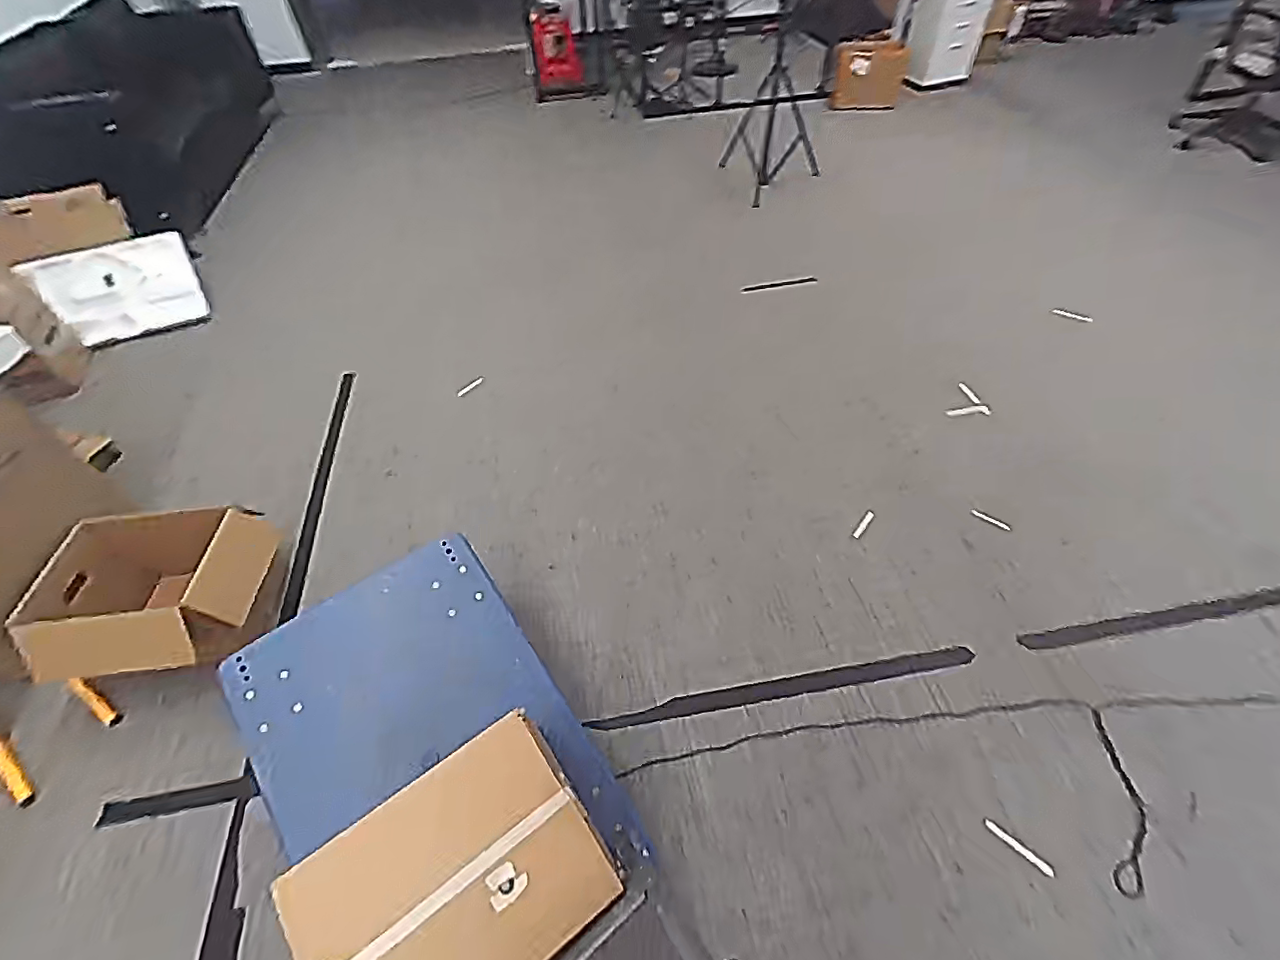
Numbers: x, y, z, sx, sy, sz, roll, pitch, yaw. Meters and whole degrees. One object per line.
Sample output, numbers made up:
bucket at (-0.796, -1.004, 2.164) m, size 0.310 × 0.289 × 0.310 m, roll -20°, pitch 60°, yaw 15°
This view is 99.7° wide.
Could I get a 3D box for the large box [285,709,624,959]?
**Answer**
large box at (-0.283, 0.670, 0.927) m, size 0.408 × 0.320 × 0.320 m, roll -32°, pitch 70°, yaw -21°
